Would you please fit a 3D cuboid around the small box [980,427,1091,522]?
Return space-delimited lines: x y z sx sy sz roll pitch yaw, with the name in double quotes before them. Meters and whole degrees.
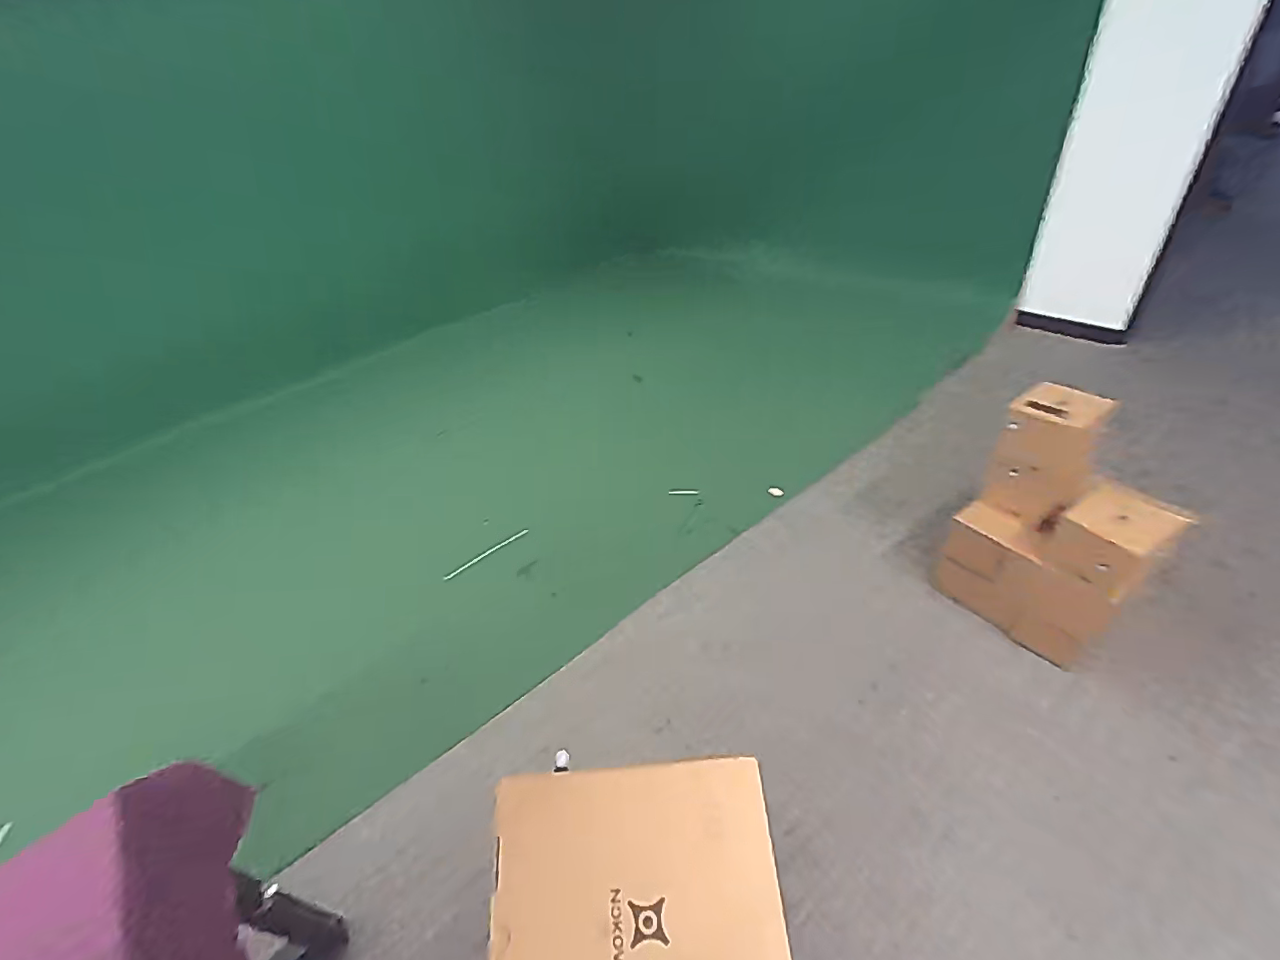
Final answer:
"small box" 1.087 -0.015 1.501 0.179 0.176 0.168 -26 40 -19

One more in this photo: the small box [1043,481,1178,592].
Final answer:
"small box" 1.123 0.138 1.308 0.179 0.176 0.168 -25 43 -19

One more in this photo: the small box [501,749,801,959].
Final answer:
"small box" 0.002 0.293 0.395 0.179 0.176 0.168 -3 63 -3
